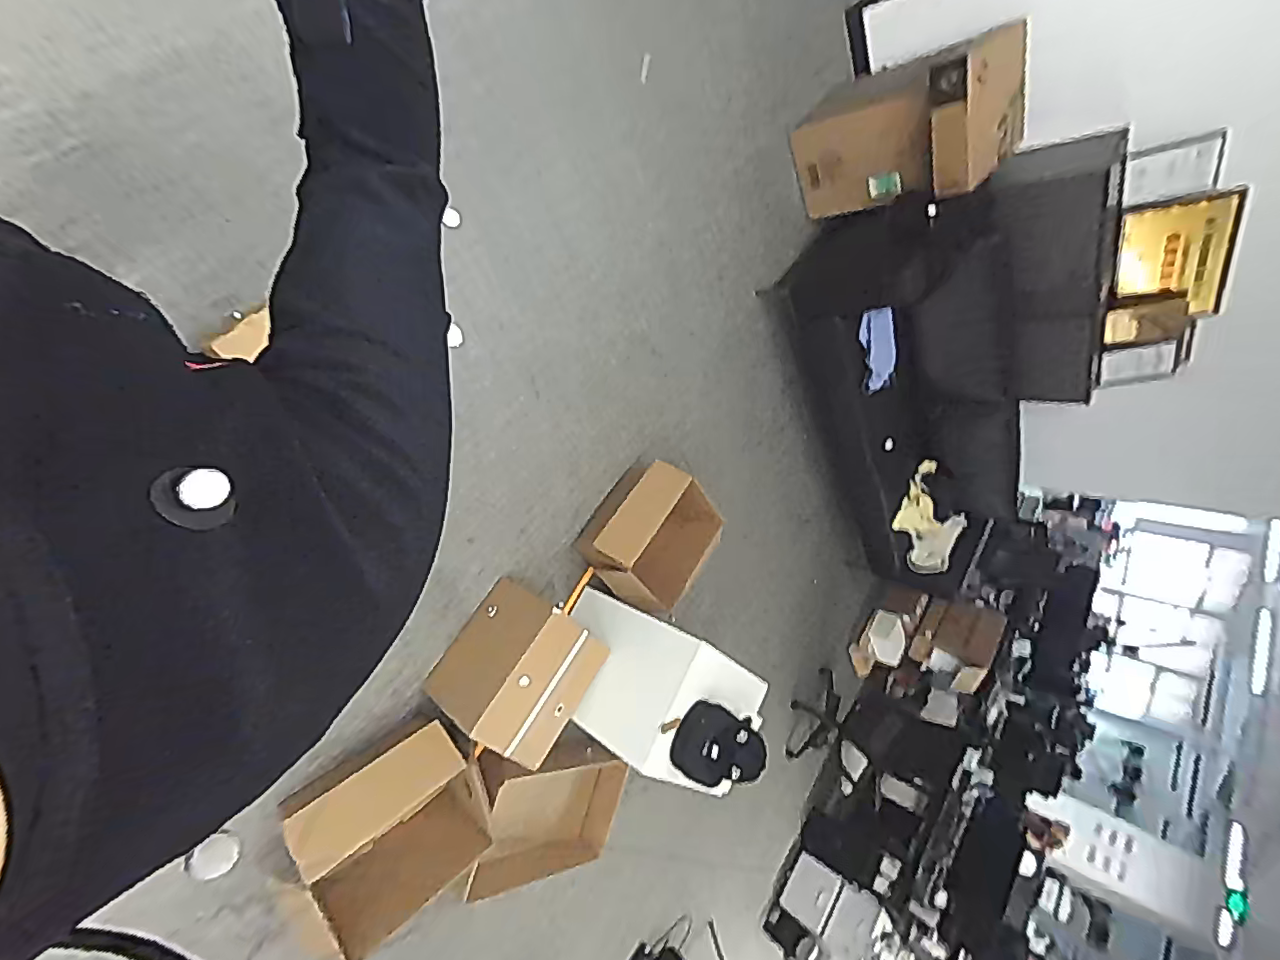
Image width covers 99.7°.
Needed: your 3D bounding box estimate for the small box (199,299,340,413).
[{"bbox_3d":[-0.798,-0.269,1.166,0.168,0.176,0.179,-51,130,-25],"label":"small box"}]
